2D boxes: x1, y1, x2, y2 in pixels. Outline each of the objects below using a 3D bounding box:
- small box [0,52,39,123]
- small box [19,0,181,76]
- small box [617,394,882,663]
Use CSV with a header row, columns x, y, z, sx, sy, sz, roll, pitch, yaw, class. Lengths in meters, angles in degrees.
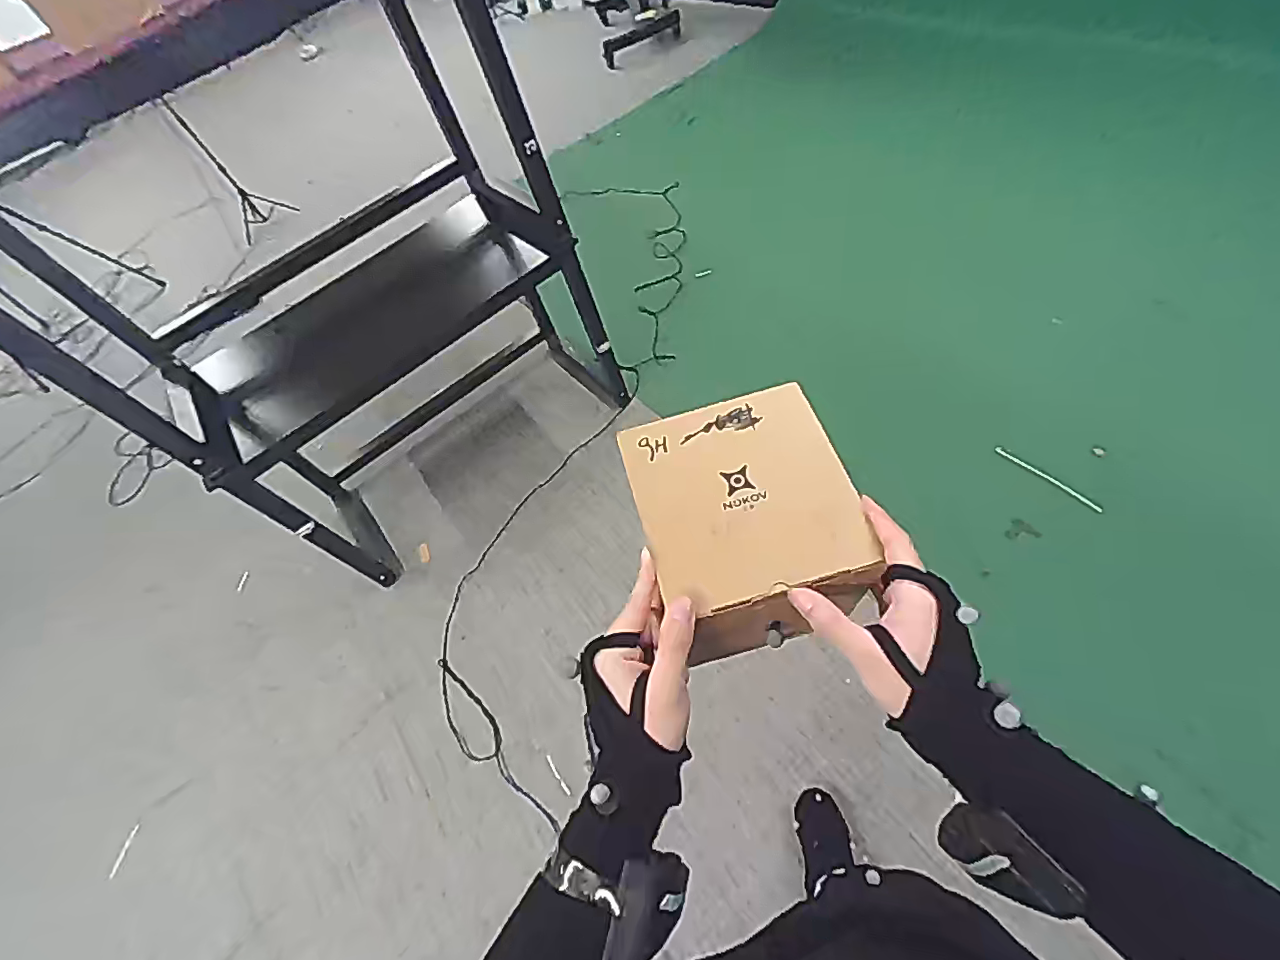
x,y,z,sx,sy,sz,roll,pitch,yaw,class
-1.166,-0.678,0.889,0.179,0.176,0.168,-41,56,-13,small box
-0.956,-0.838,0.937,0.179,0.176,0.168,-39,55,-11,small box
0.089,0.056,0.497,0.168,0.176,0.179,-17,60,-1,small box
